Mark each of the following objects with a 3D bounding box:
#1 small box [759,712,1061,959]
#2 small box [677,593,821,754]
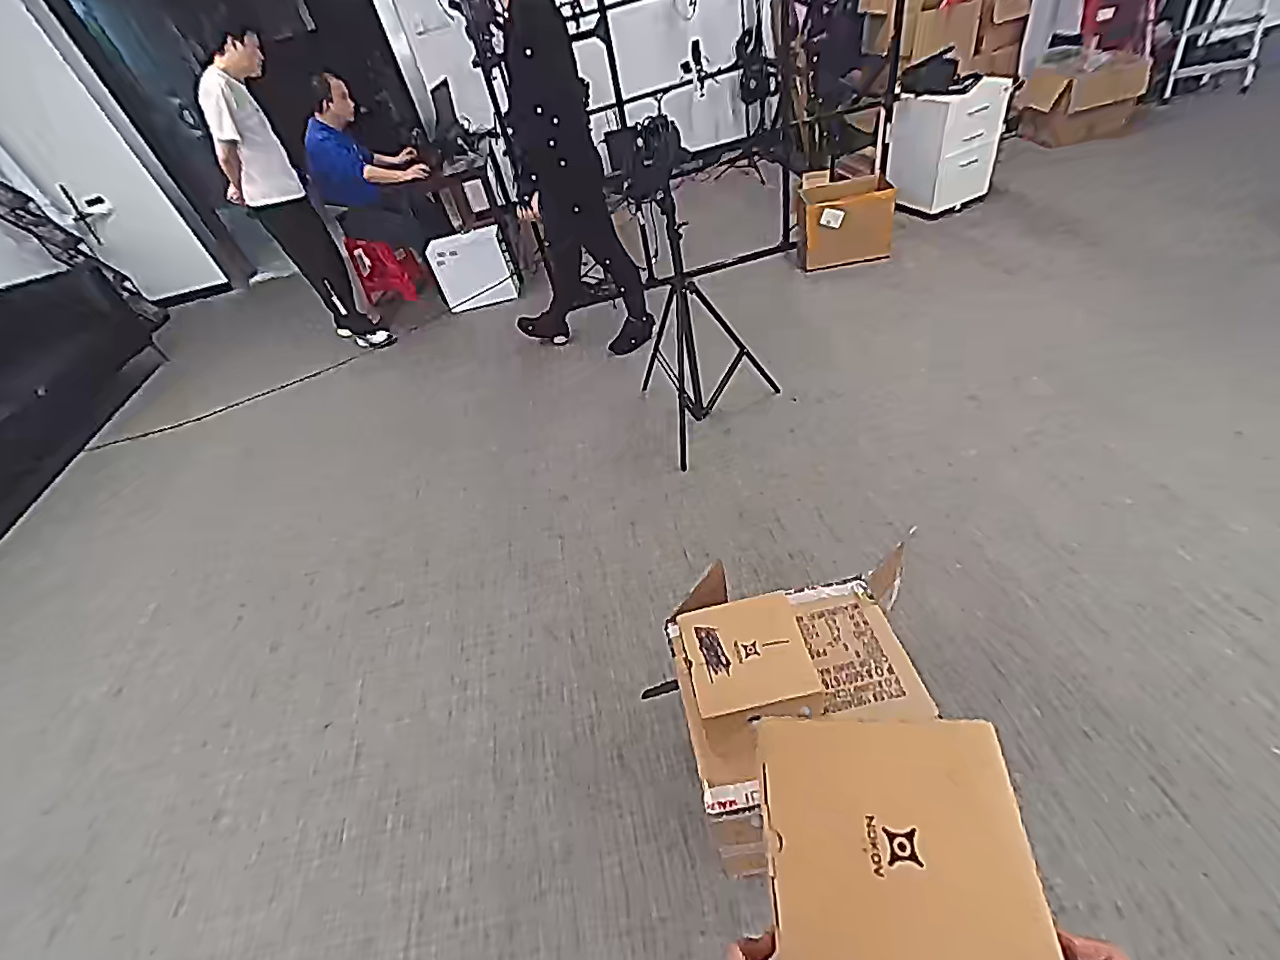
[{"bbox_3d":[0.194,0.295,0.450,0.179,0.176,0.168,-5,56,10],"label":"small box"},{"bbox_3d":[0.169,0.307,0.848,0.179,0.176,0.168,-14,45,2],"label":"small box"}]
